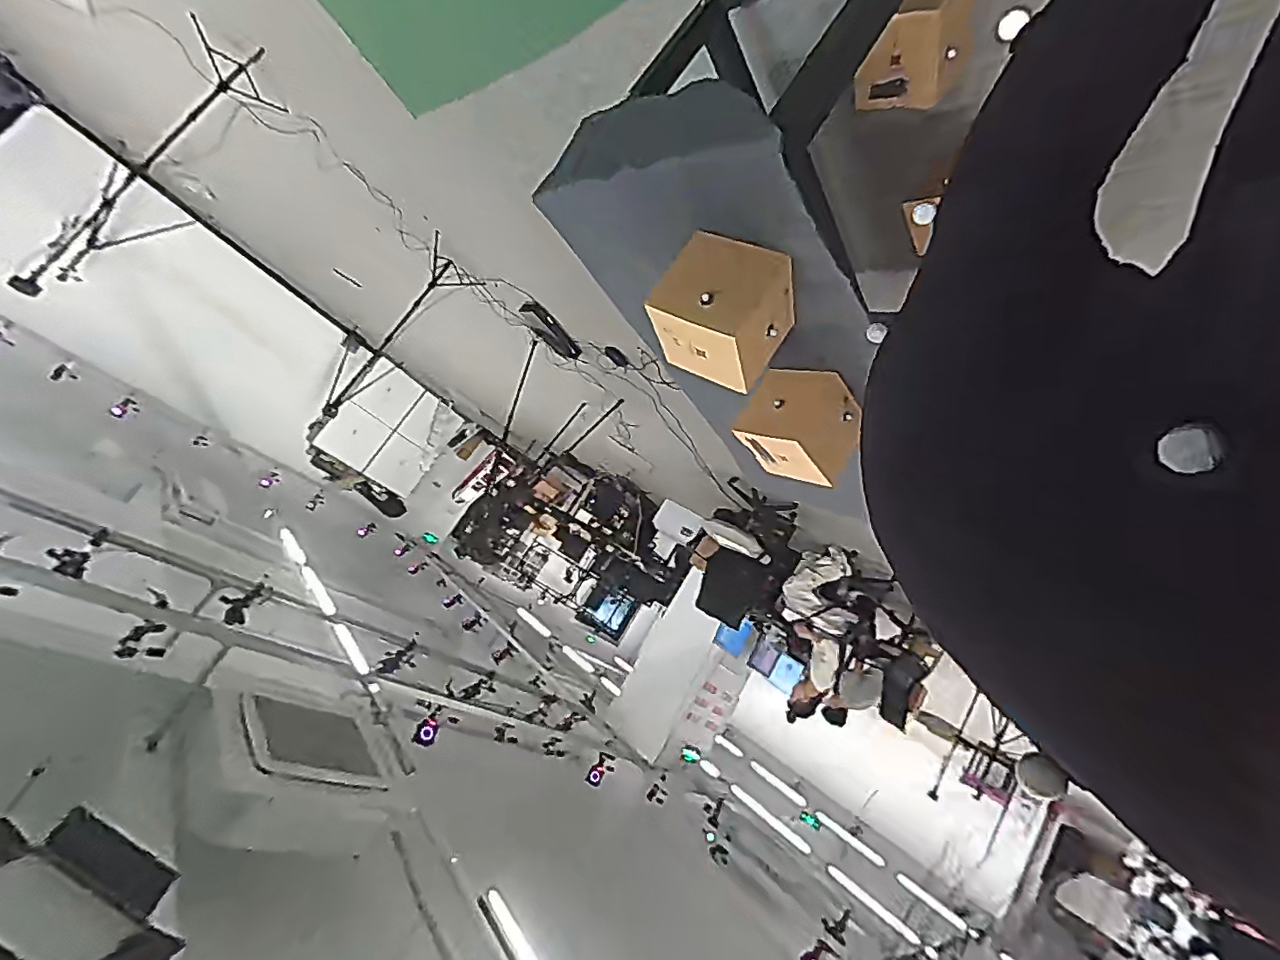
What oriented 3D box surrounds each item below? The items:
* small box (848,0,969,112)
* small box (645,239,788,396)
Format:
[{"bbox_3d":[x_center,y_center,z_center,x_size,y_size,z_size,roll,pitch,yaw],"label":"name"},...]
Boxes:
[{"bbox_3d":[0.533,-0.874,1.073,0.168,0.176,0.179,24,164,33],"label":"small box"},{"bbox_3d":[0.140,-0.277,0.919,0.179,0.176,0.168,29,168,26],"label":"small box"}]
